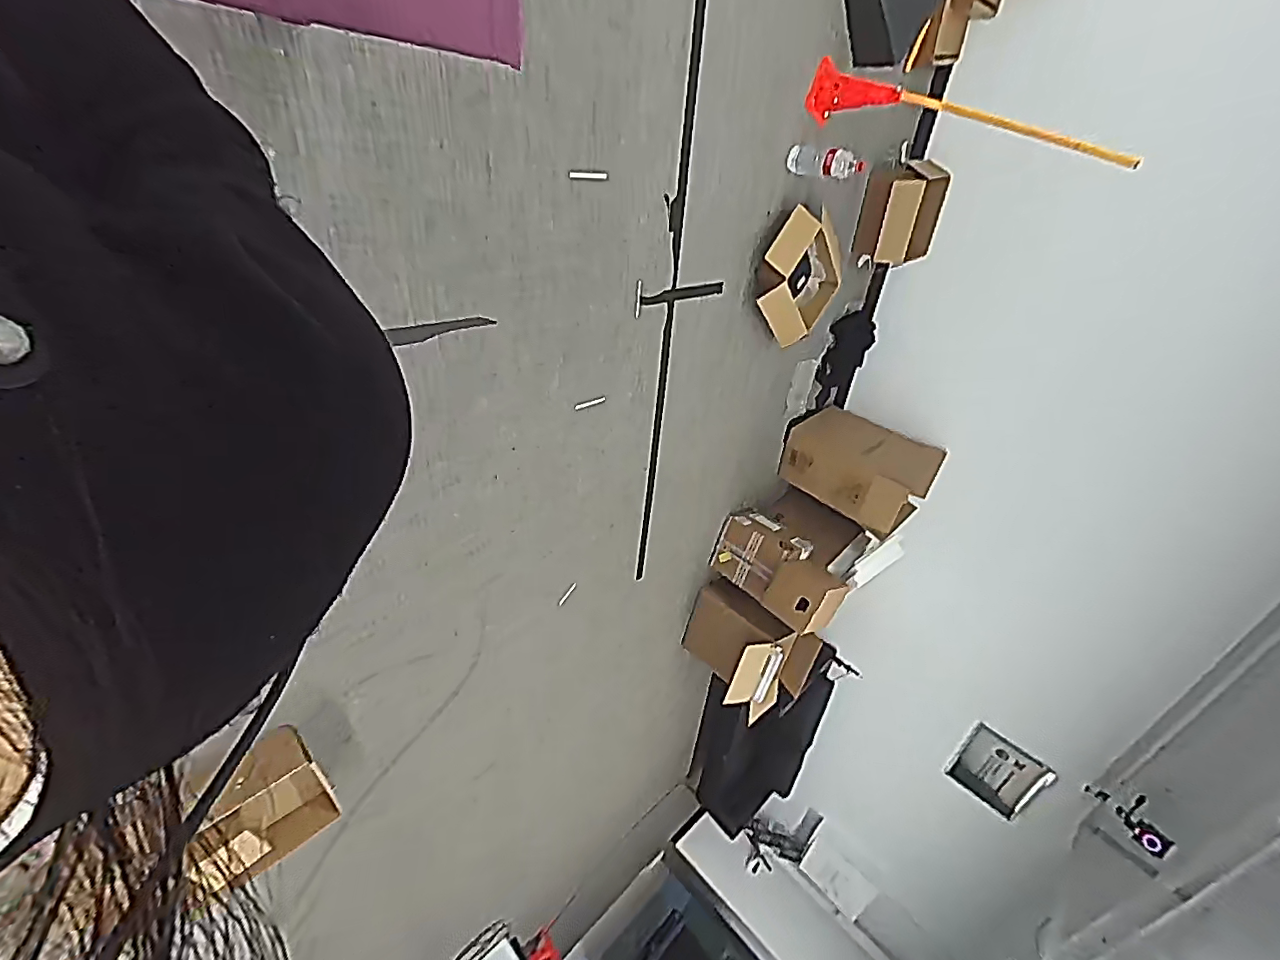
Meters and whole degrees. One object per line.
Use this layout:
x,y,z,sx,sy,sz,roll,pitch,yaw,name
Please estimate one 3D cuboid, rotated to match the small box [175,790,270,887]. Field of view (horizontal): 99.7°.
-1.318,1.128,1.709,0.168,0.176,0.179,-34,139,-32,small box
